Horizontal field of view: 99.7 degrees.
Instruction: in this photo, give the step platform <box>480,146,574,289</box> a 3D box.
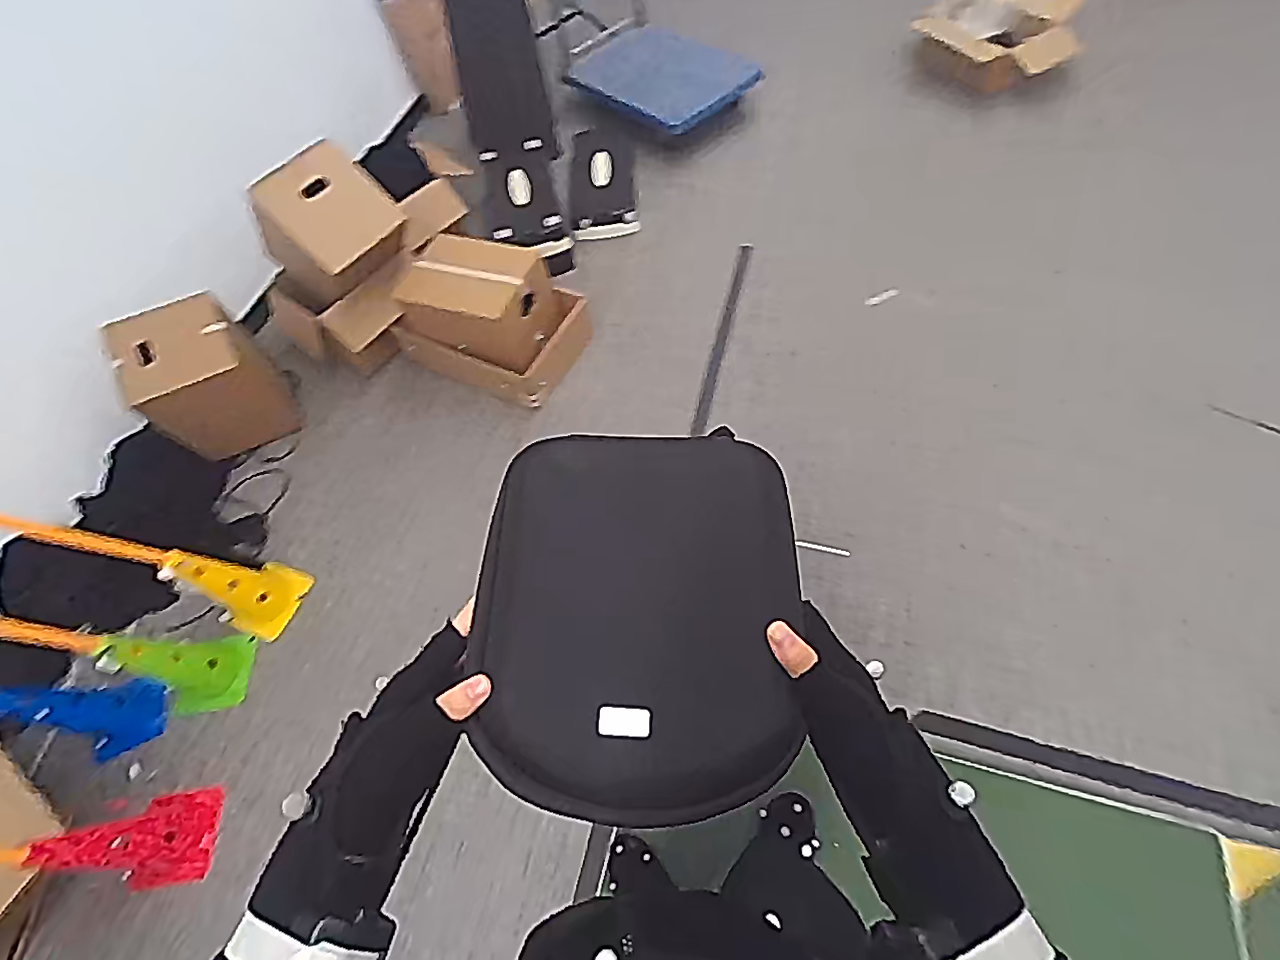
[{"bbox_3d":[-0.486,-1.123,2.276,0.286,0.204,0.684,-15,61,-1],"label":"step platform"}]
